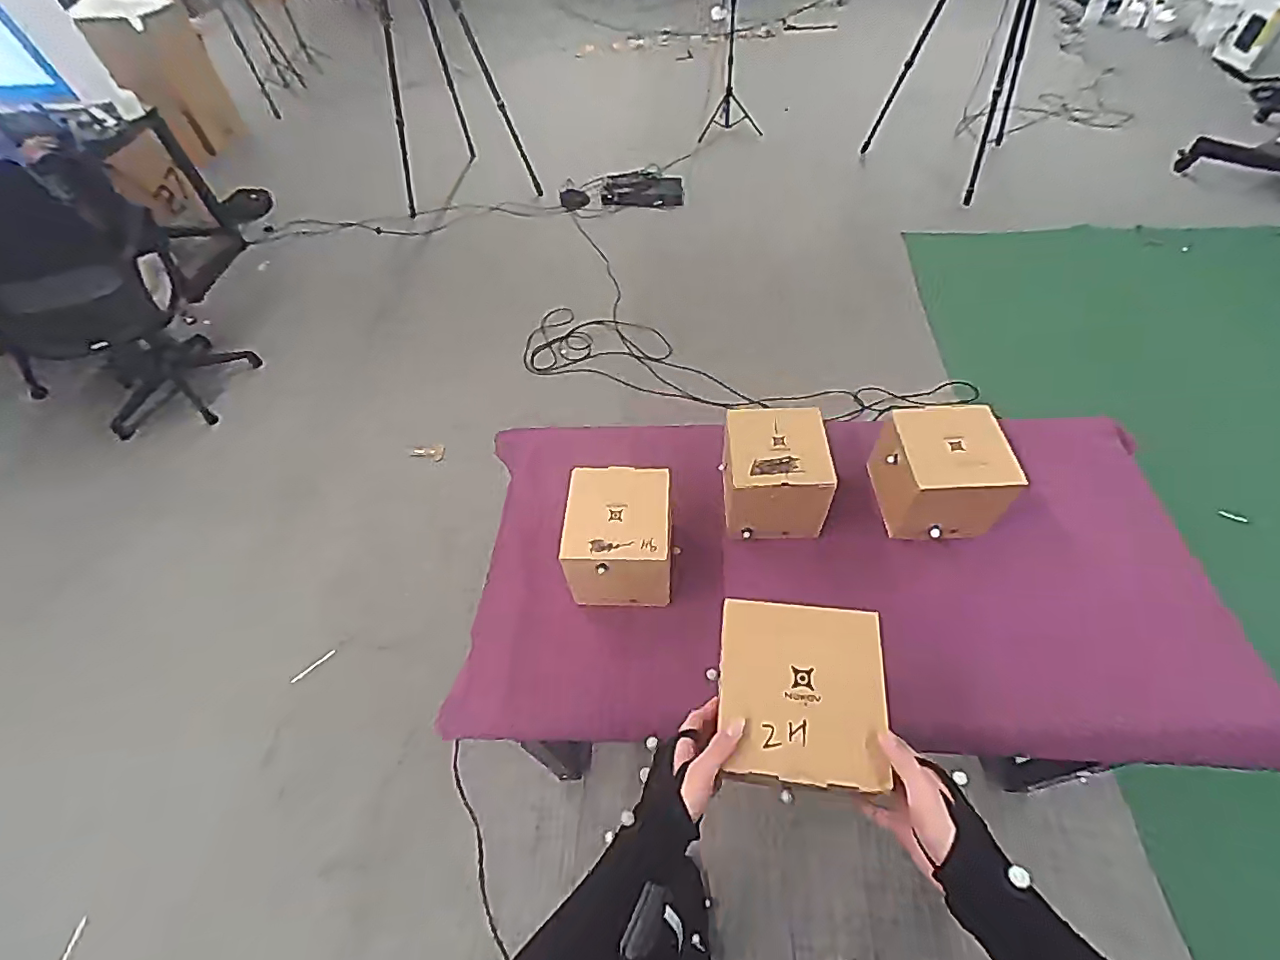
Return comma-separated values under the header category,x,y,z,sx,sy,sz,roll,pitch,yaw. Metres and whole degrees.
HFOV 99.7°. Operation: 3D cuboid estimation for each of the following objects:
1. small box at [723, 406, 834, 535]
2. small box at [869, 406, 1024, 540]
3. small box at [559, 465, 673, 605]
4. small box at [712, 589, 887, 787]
category,x,y,z,sx,sy,sz,roll,pitch,yaw
small box,0.240,-0.012,0.980,0.168,0.176,0.179,-1,53,4
small box,0.524,-0.011,0.959,0.168,0.176,0.179,-2,54,4
small box,-0.031,0.093,0.918,0.168,0.176,0.179,0,53,6
small box,0.173,0.245,0.629,0.168,0.176,0.179,4,60,10
